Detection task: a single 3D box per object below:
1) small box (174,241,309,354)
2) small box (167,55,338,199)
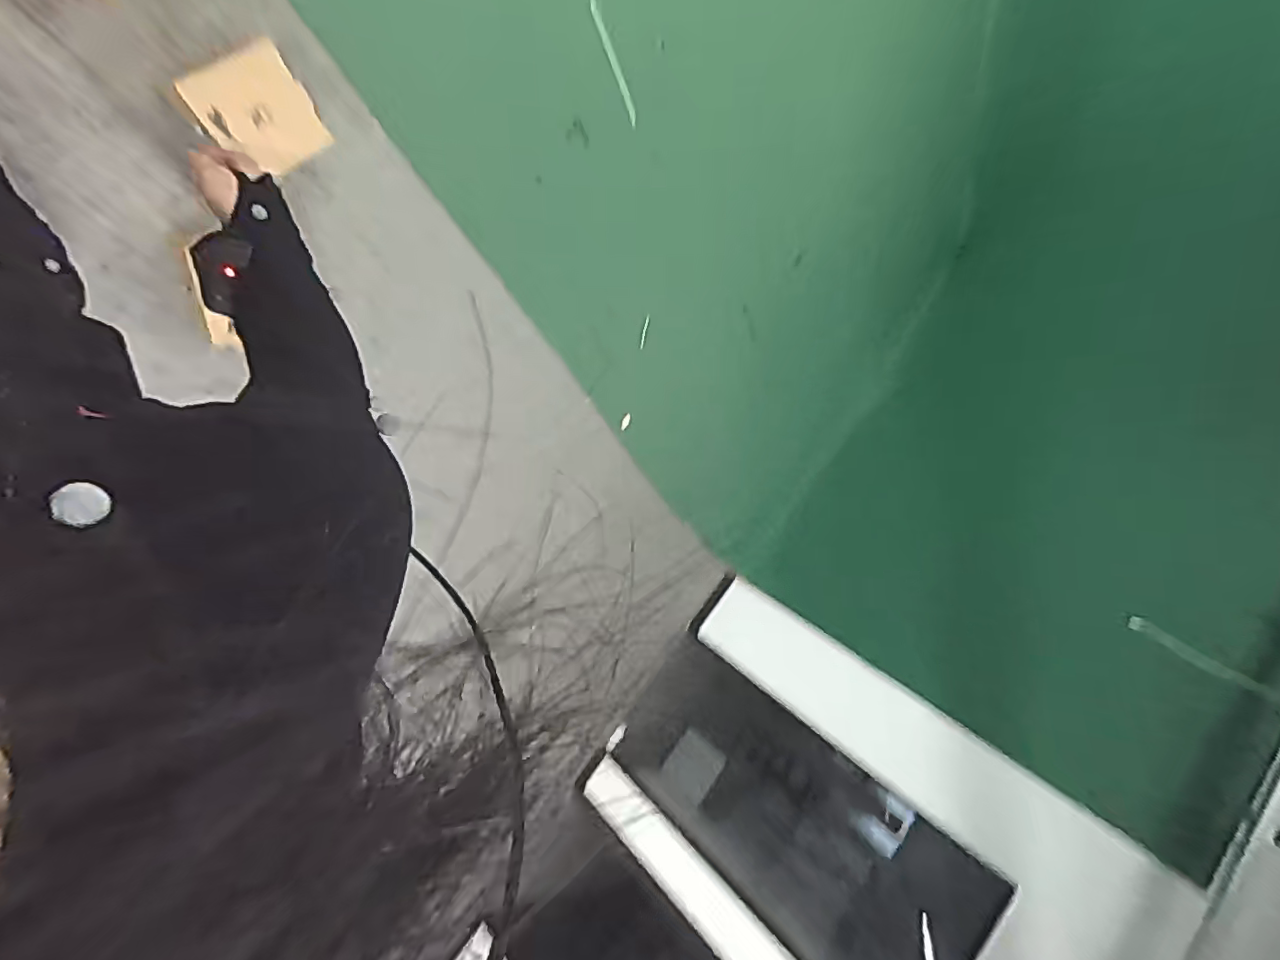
[{"bbox_3d":[-0.799,-0.373,1.089,0.168,0.176,0.179,-22,131,-40],"label":"small box"},{"bbox_3d":[-0.708,-0.650,0.989,0.179,0.176,0.168,-45,144,-18],"label":"small box"}]
